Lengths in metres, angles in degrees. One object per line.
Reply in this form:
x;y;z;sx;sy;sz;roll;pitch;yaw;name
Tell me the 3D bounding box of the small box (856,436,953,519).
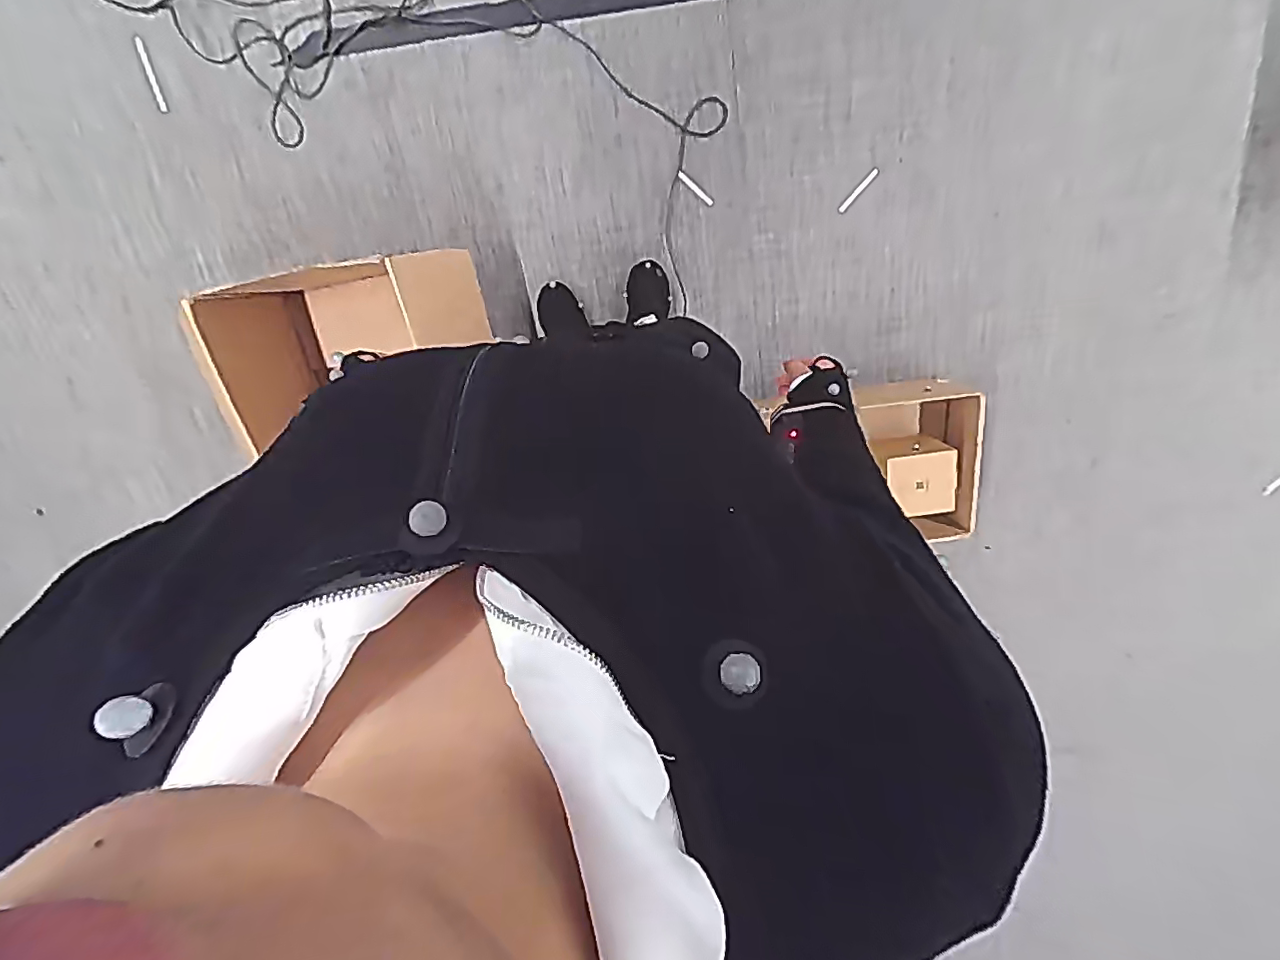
0.692;-0.013;1.430;0.179;0.176;0.168;-7;108;2;small box
